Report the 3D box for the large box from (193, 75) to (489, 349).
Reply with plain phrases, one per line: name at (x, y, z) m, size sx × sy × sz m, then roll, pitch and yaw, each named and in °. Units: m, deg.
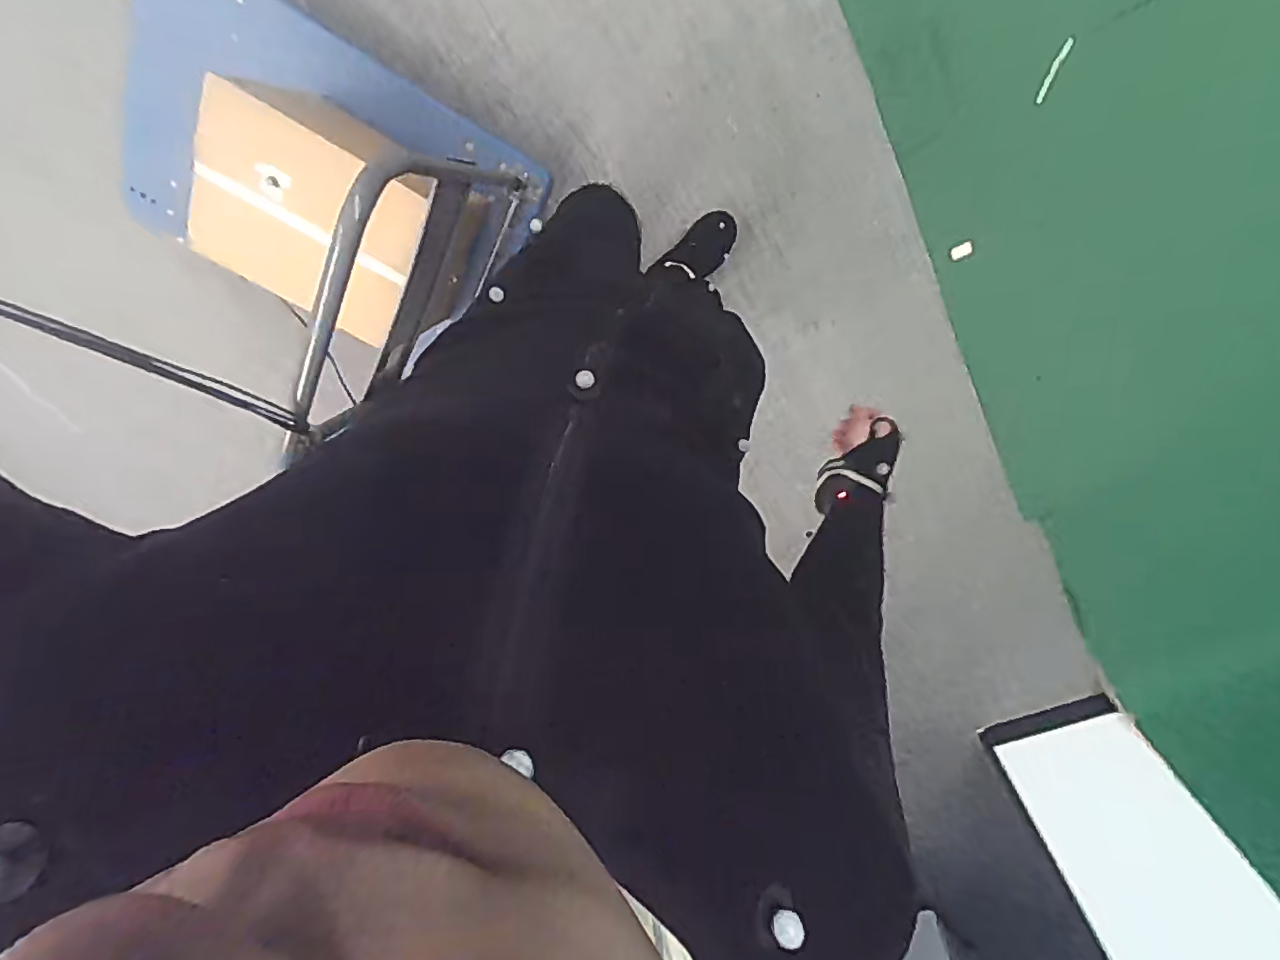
large box at (-0.590, -0.535, 1.118) m, size 0.408 × 0.320 × 0.320 m, roll 29°, pitch 117°, yaw -10°
